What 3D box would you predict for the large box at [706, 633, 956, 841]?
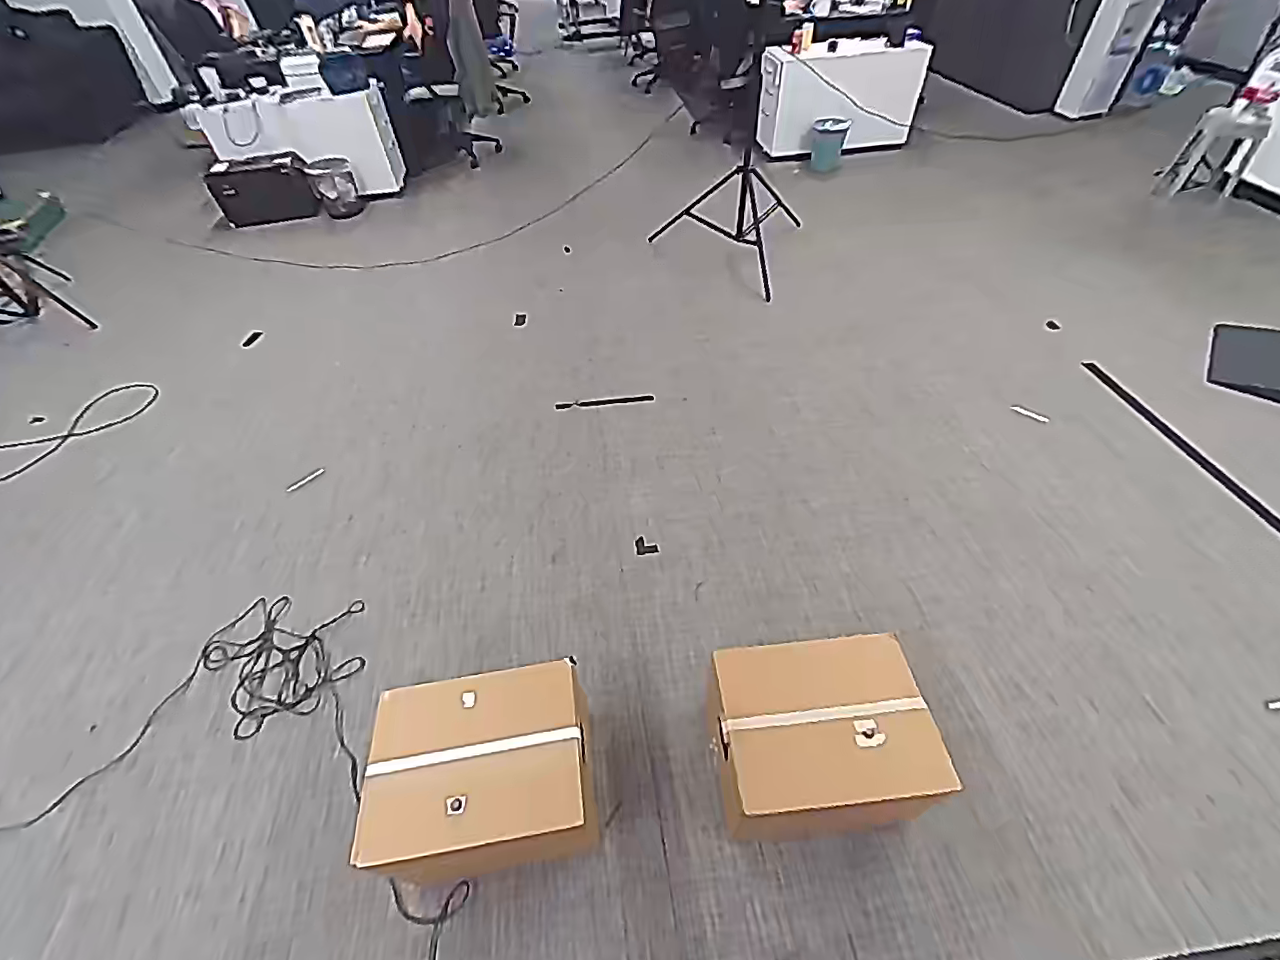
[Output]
[{"bbox_3d":[0.377,0.568,1.194,0.408,0.320,0.320,-5,48,-2],"label":"large box"}]
